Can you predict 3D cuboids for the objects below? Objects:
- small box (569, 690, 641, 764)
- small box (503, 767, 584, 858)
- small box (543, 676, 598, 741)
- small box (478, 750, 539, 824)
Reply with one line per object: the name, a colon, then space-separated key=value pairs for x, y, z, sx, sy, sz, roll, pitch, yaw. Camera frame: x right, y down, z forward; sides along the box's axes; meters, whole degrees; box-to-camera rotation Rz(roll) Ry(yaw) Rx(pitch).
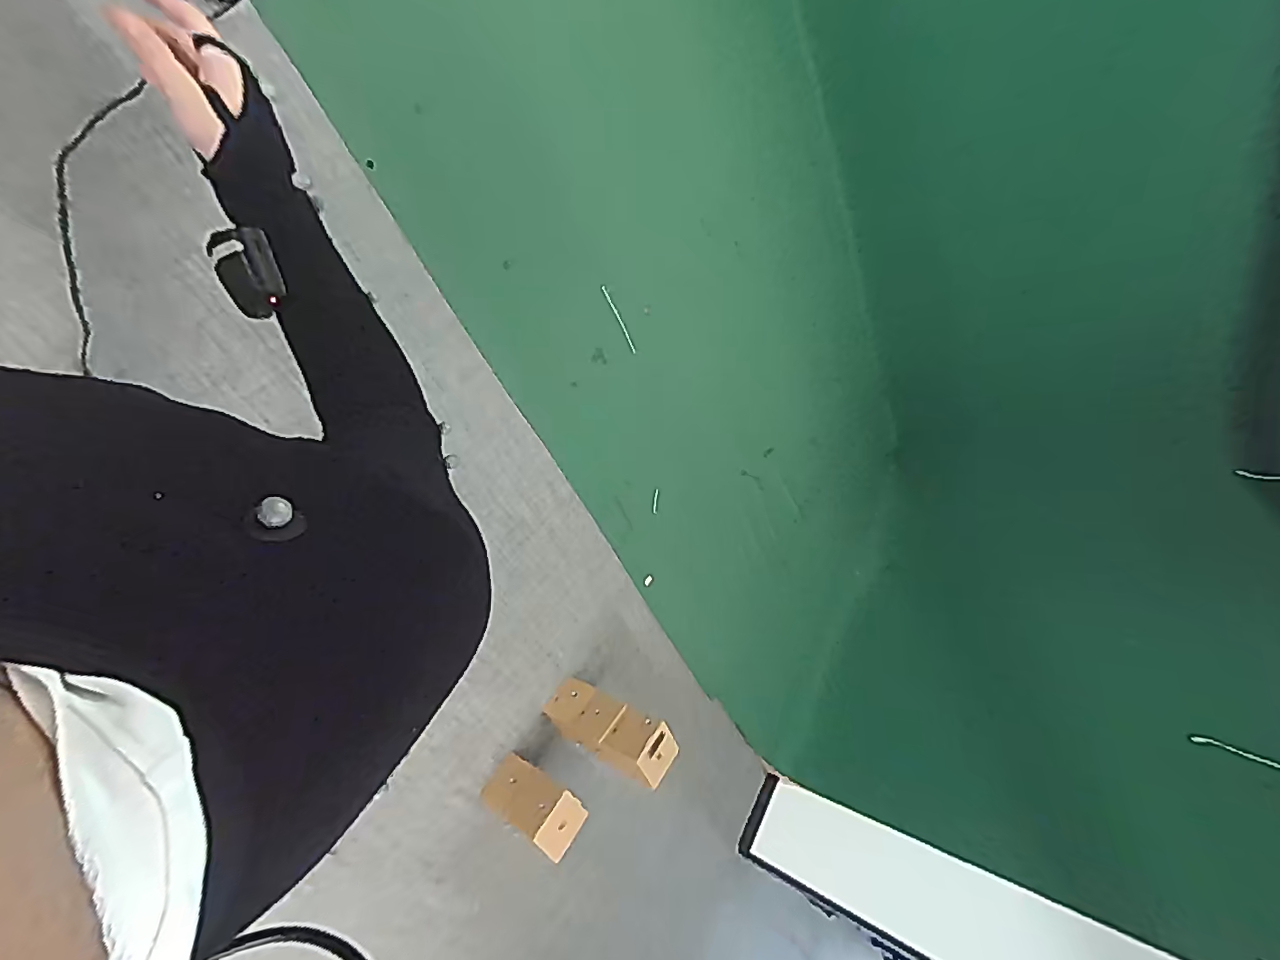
small box: x=-0.133 y=0.909 z=2.011 sx=0.168 sy=0.176 sz=0.179 roll=-45 pitch=124 yaw=-35
small box: x=-0.326 y=1.111 z=1.820 sx=0.179 sy=0.176 sz=0.168 roll=-47 pitch=124 yaw=-34
small box: x=-0.251 y=0.897 z=2.127 sx=0.168 sy=0.176 sz=0.179 roll=-46 pitch=125 yaw=-34
small box: x=-0.441 y=1.110 z=1.937 sx=0.179 sy=0.176 sz=0.168 roll=-49 pitch=126 yaw=-33
